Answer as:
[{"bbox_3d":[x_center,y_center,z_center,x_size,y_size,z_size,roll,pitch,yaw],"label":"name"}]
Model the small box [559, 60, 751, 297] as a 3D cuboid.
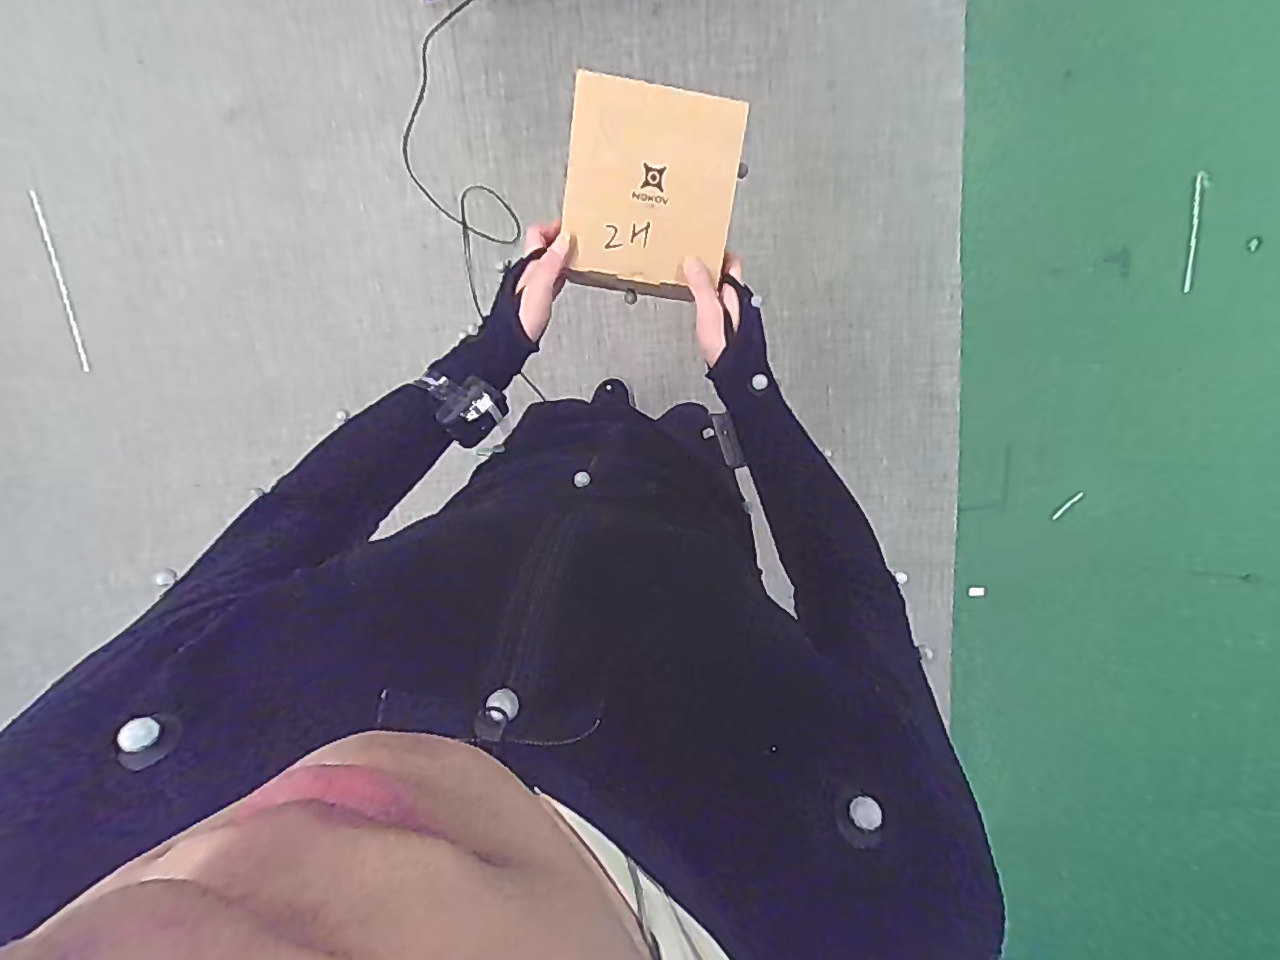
[{"bbox_3d":[0.007,-0.308,0.594,0.168,0.176,0.179,7,105,-6],"label":"small box"}]
